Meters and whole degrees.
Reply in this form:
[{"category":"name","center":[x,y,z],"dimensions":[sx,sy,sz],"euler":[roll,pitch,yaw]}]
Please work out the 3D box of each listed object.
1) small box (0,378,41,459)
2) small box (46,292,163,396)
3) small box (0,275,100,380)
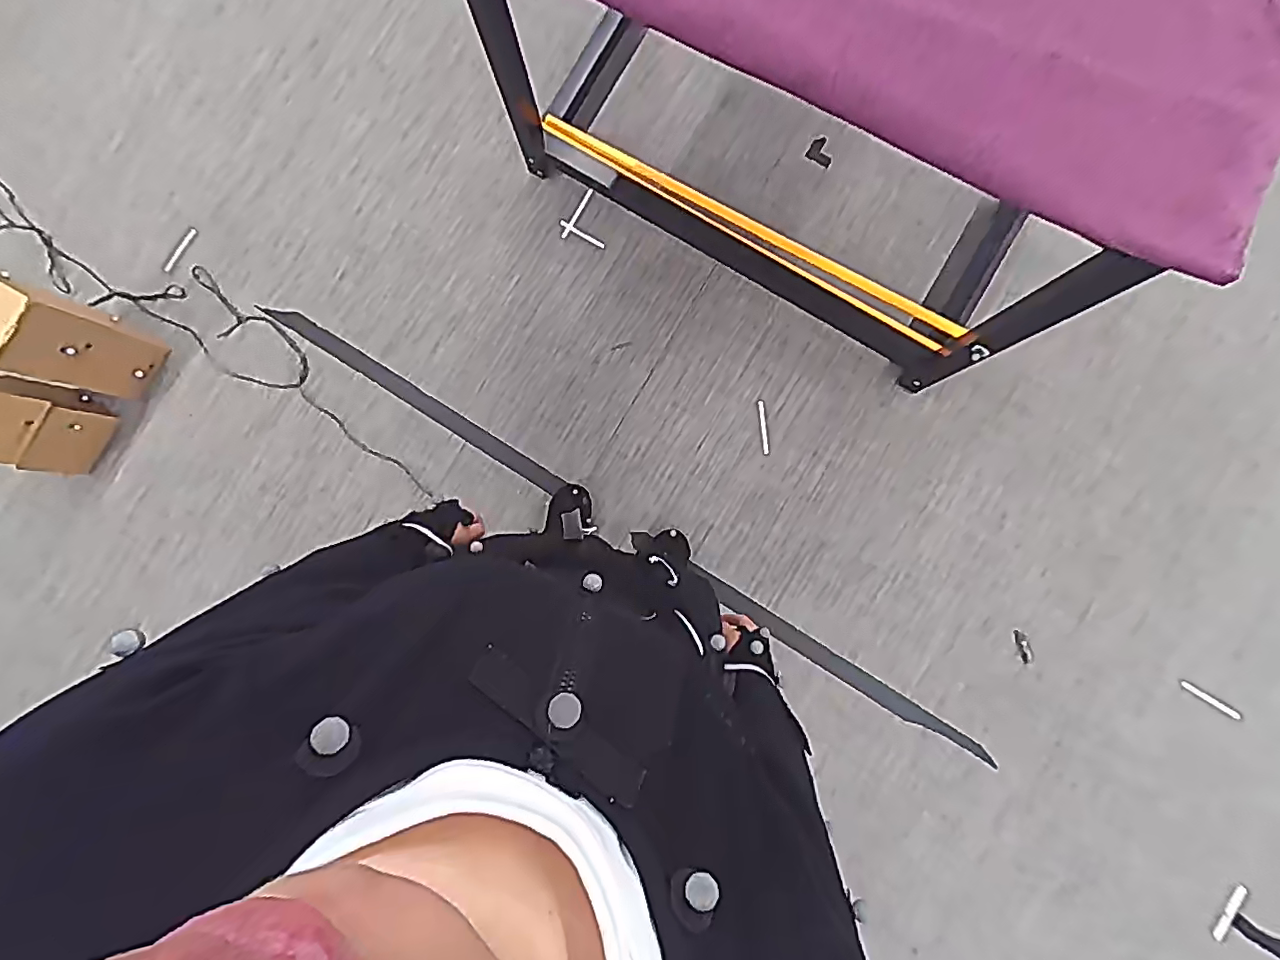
[{"category":"small box","center":[-1.492,-0.151,1.176],"dimensions":[0.179,0.176,0.168],"euler":[26,87,3]},{"category":"small box","center":[-1.370,-0.329,1.347],"dimensions":[0.179,0.176,0.168],"euler":[31,87,2]},{"category":"small box","center":[-1.371,-0.340,1.183],"dimensions":[0.179,0.176,0.168],"euler":[29,88,2]}]
